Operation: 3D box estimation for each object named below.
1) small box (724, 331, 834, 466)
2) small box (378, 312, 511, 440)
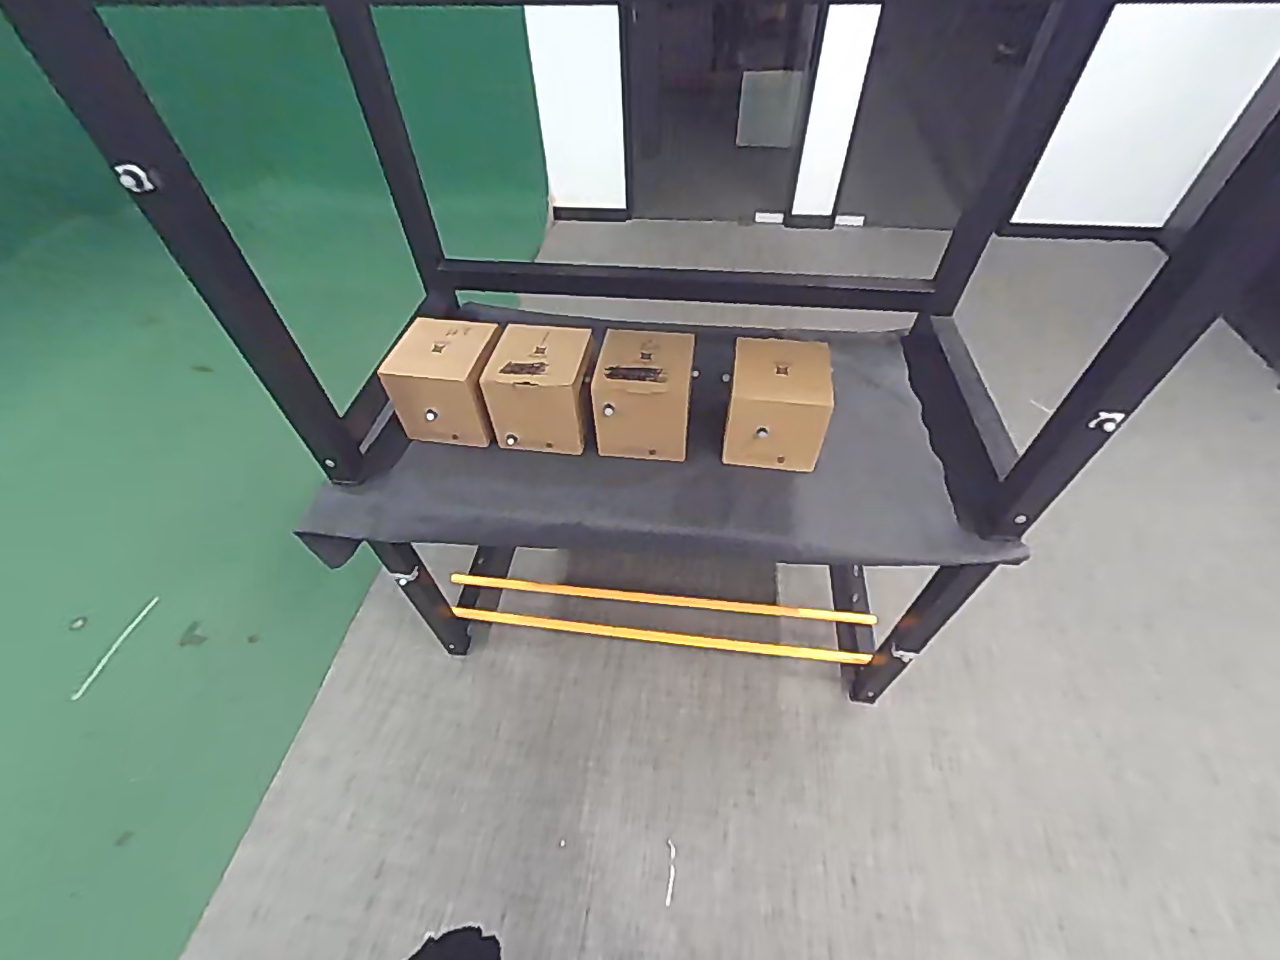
[{"bbox_3d":[0.247,-0.145,0.982,0.168,0.176,0.179,7,50,7],"label":"small box"},{"bbox_3d":[-0.360,-0.197,1.039,0.168,0.176,0.179,8,50,6],"label":"small box"}]
